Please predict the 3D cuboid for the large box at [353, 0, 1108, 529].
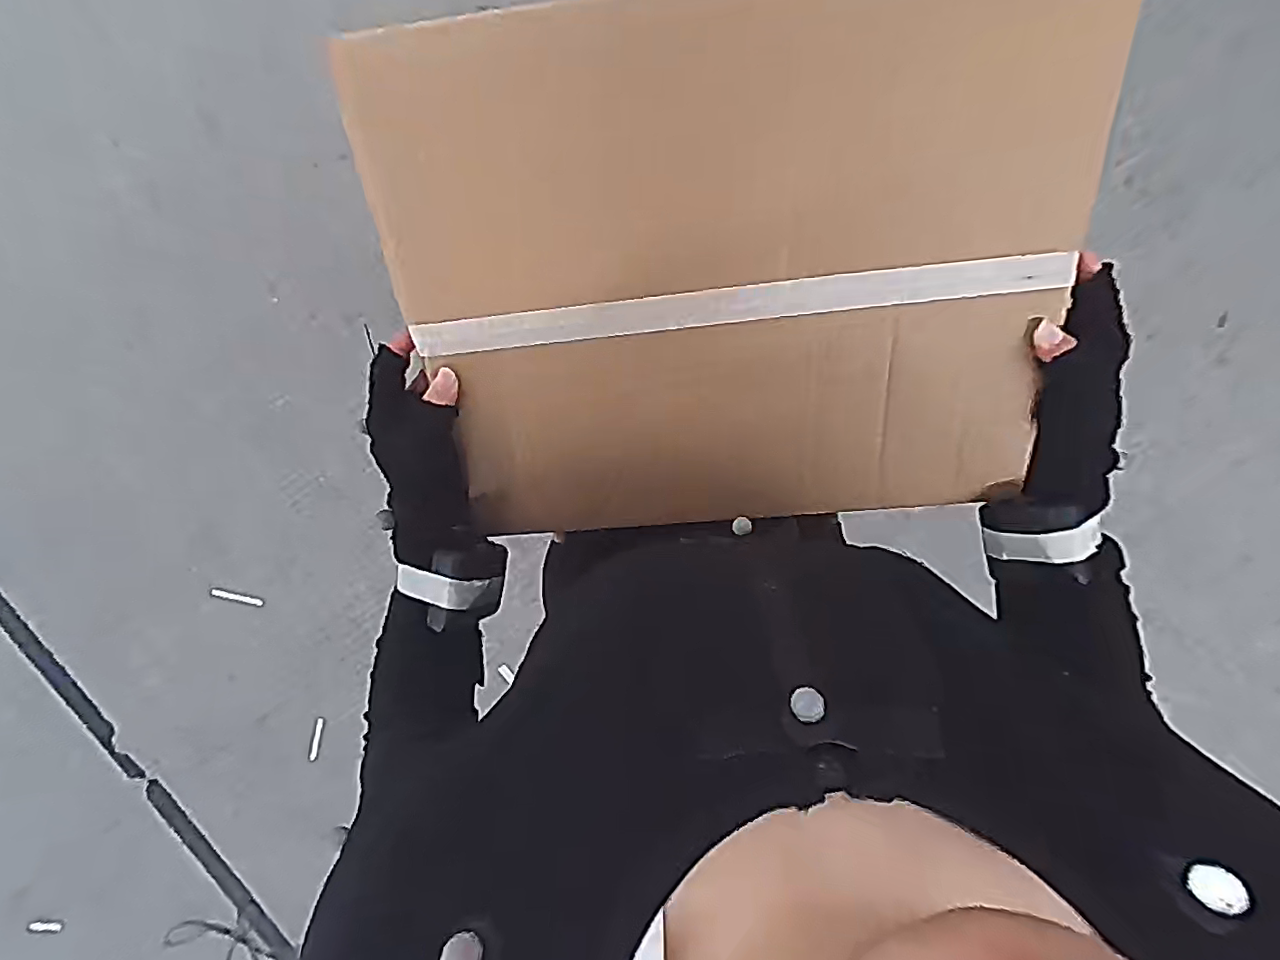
[{"bbox_3d":[0.057,-0.182,0.479,0.408,0.320,0.320,-5,120,4],"label":"large box"}]
